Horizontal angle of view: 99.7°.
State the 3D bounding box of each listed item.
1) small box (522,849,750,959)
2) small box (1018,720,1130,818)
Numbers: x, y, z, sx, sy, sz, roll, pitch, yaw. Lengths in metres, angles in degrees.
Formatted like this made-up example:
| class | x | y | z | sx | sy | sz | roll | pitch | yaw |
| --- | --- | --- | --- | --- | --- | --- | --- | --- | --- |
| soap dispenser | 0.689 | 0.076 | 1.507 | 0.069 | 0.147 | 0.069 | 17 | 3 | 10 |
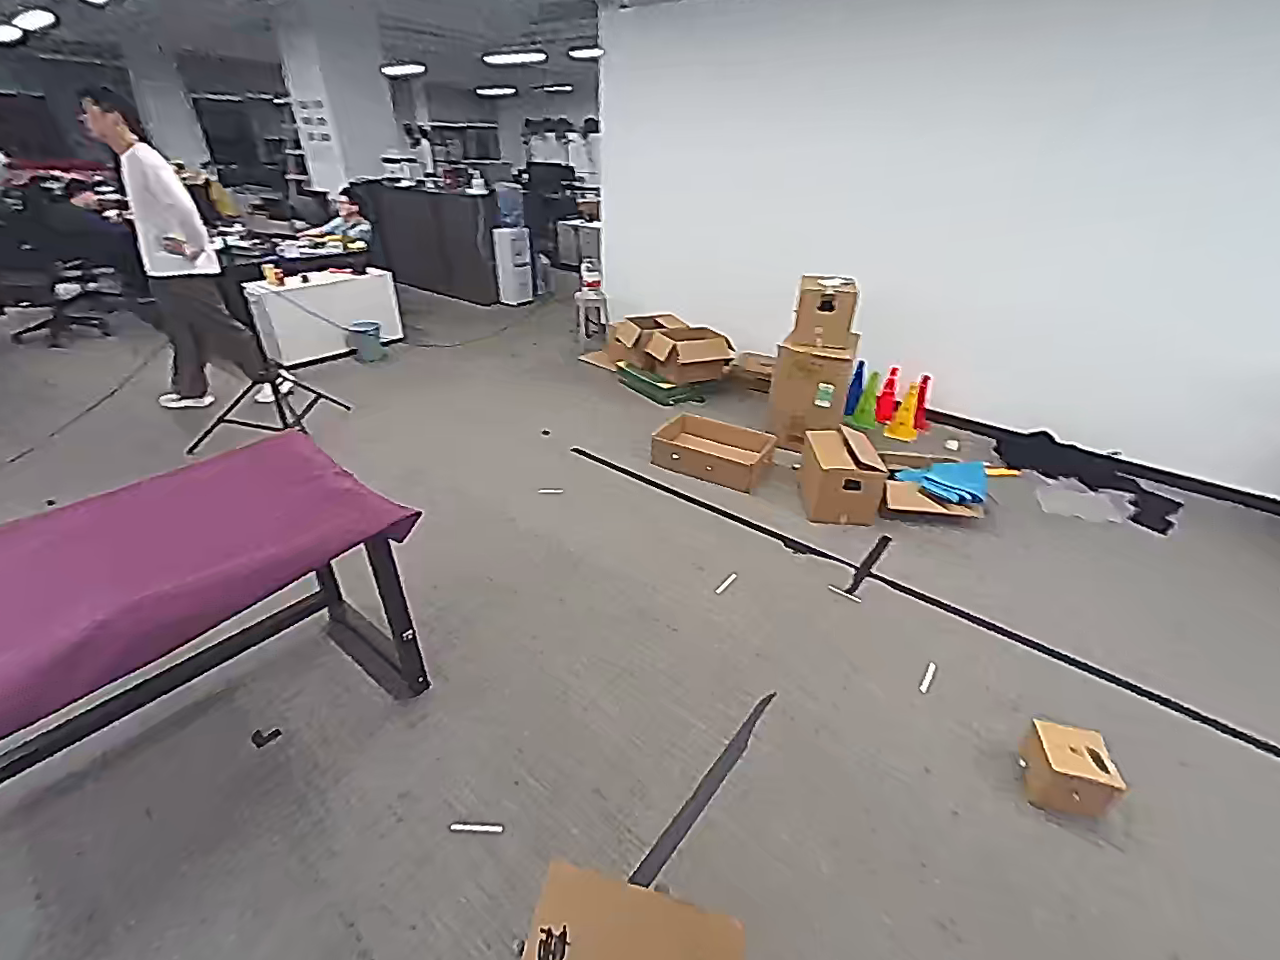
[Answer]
| class | x | y | z | sx | sy | sz | roll | pitch | yaw |
| --- | --- | --- | --- | --- | --- | --- | --- | --- | --- |
| small box | -0.014 | 0.452 | 0.472 | 0.179 | 0.176 | 0.168 | 11 | 49 | 8 |
| small box | 1.227 | 0.828 | 1.545 | 0.179 | 0.176 | 0.168 | 9 | 32 | 14 |
